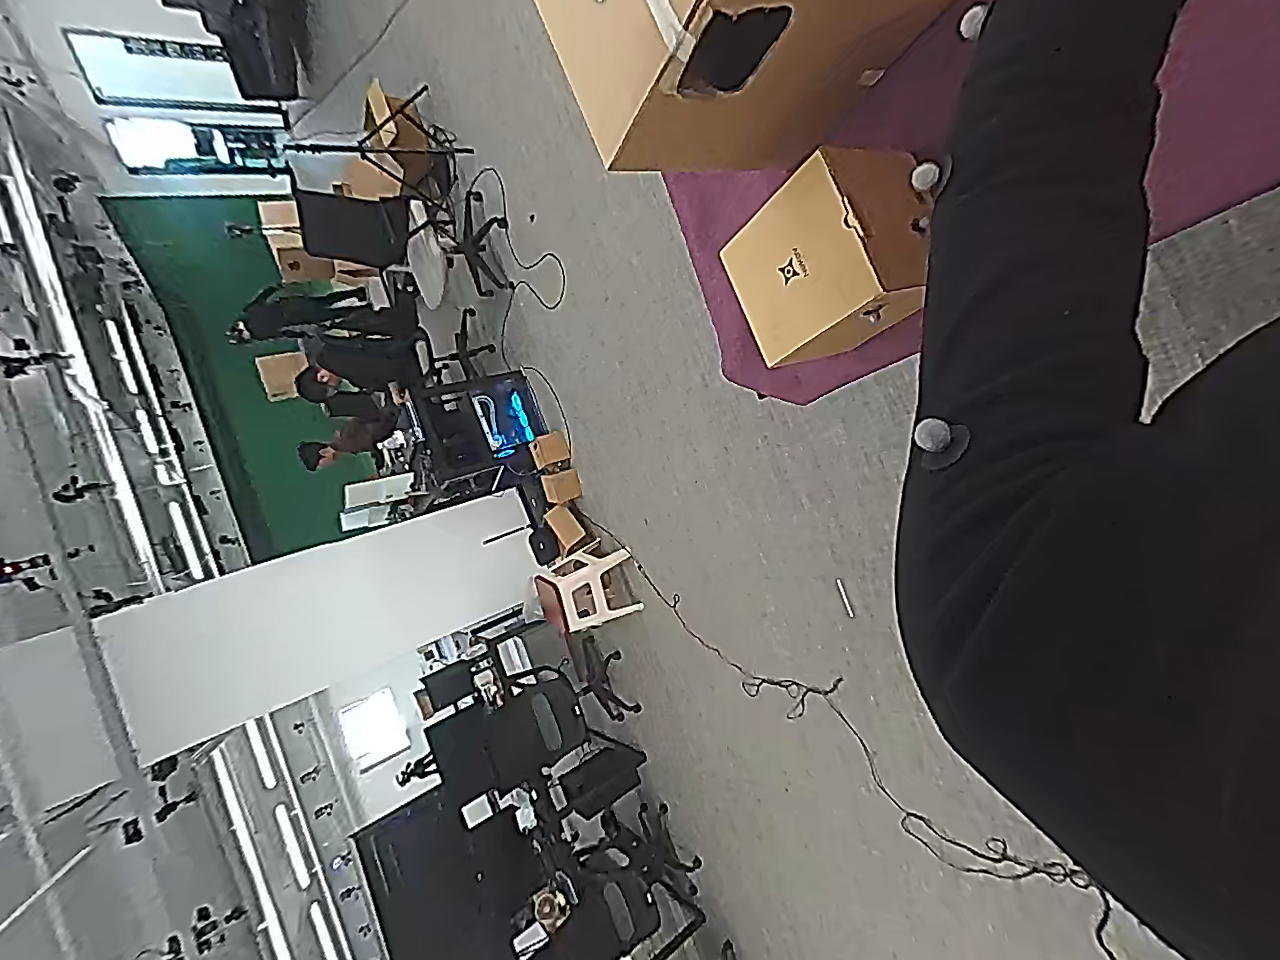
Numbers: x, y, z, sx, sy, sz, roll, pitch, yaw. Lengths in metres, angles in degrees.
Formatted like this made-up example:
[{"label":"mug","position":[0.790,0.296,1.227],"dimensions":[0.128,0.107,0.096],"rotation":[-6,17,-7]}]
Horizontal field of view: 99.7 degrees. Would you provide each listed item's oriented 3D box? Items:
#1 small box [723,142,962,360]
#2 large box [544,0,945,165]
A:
[{"label":"small box","position":[0.238,-0.264,0.649],"dimensions":[0.179,0.176,0.168],"rotation":[-31,79,58]},{"label":"large box","position":[0.086,-0.611,0.557],"dimensions":[0.320,0.320,0.408],"rotation":[-29,85,60]}]
